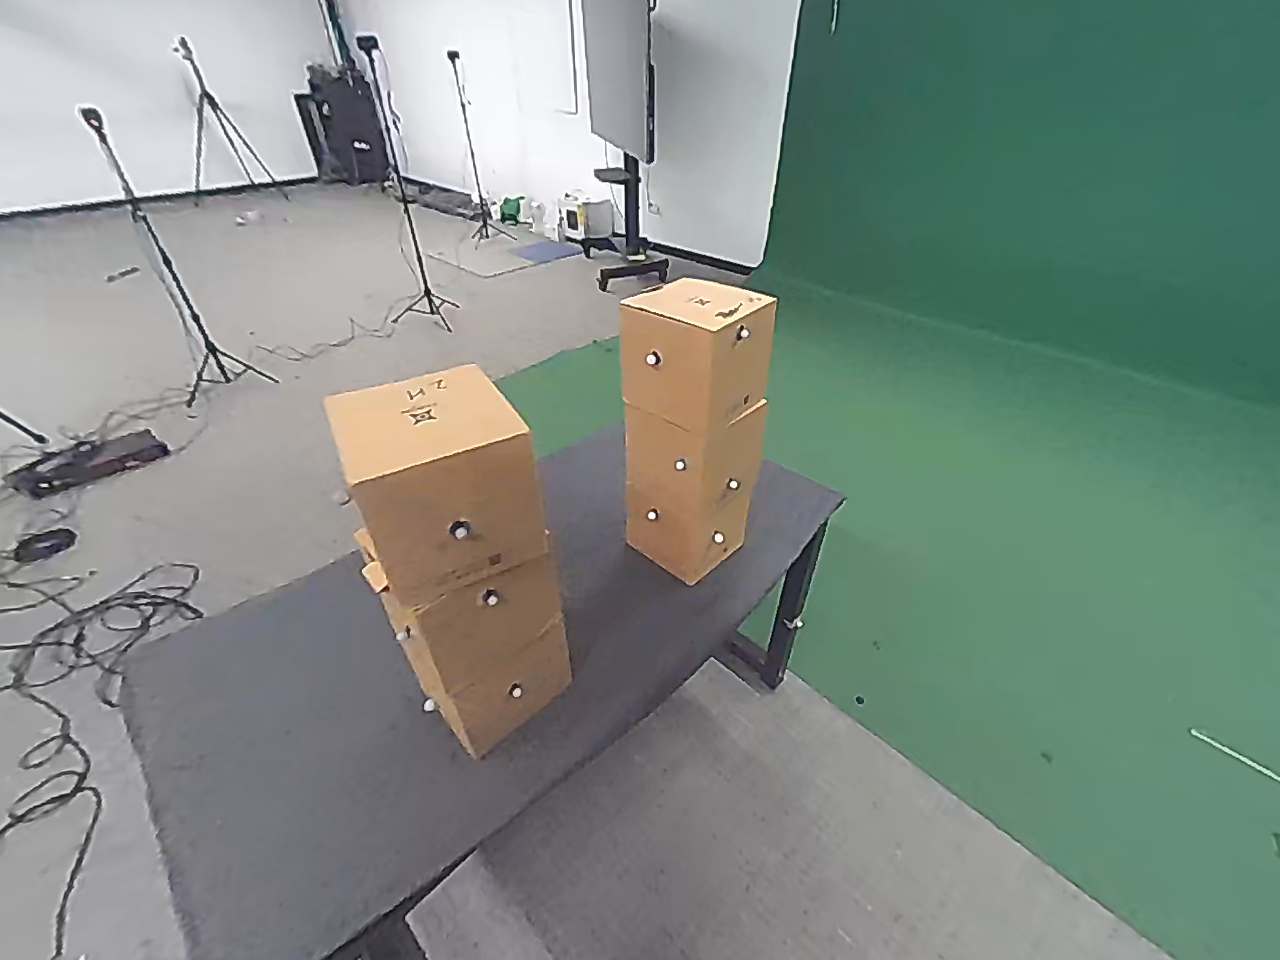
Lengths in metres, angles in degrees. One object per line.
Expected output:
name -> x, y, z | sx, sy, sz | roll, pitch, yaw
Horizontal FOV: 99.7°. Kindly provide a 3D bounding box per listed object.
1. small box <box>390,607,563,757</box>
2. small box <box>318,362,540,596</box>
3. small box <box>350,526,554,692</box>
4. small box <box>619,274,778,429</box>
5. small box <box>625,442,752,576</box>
small box -> -0.225, 0.253, 0.786 | 0.179, 0.176, 0.168 | -31, 47, -33
small box -> -0.218, -0.001, 0.580 | 0.168, 0.176, 0.179 | -20, 42, -24
small box -> -0.226, 0.128, 0.684 | 0.179, 0.176, 0.168 | -29, 47, -33
small box -> 0.086, -0.200, 0.832 | 0.179, 0.176, 0.168 | 27, 46, 32
small box -> 0.090, 0.059, 1.035 | 0.179, 0.176, 0.168 | 31, 47, 34
